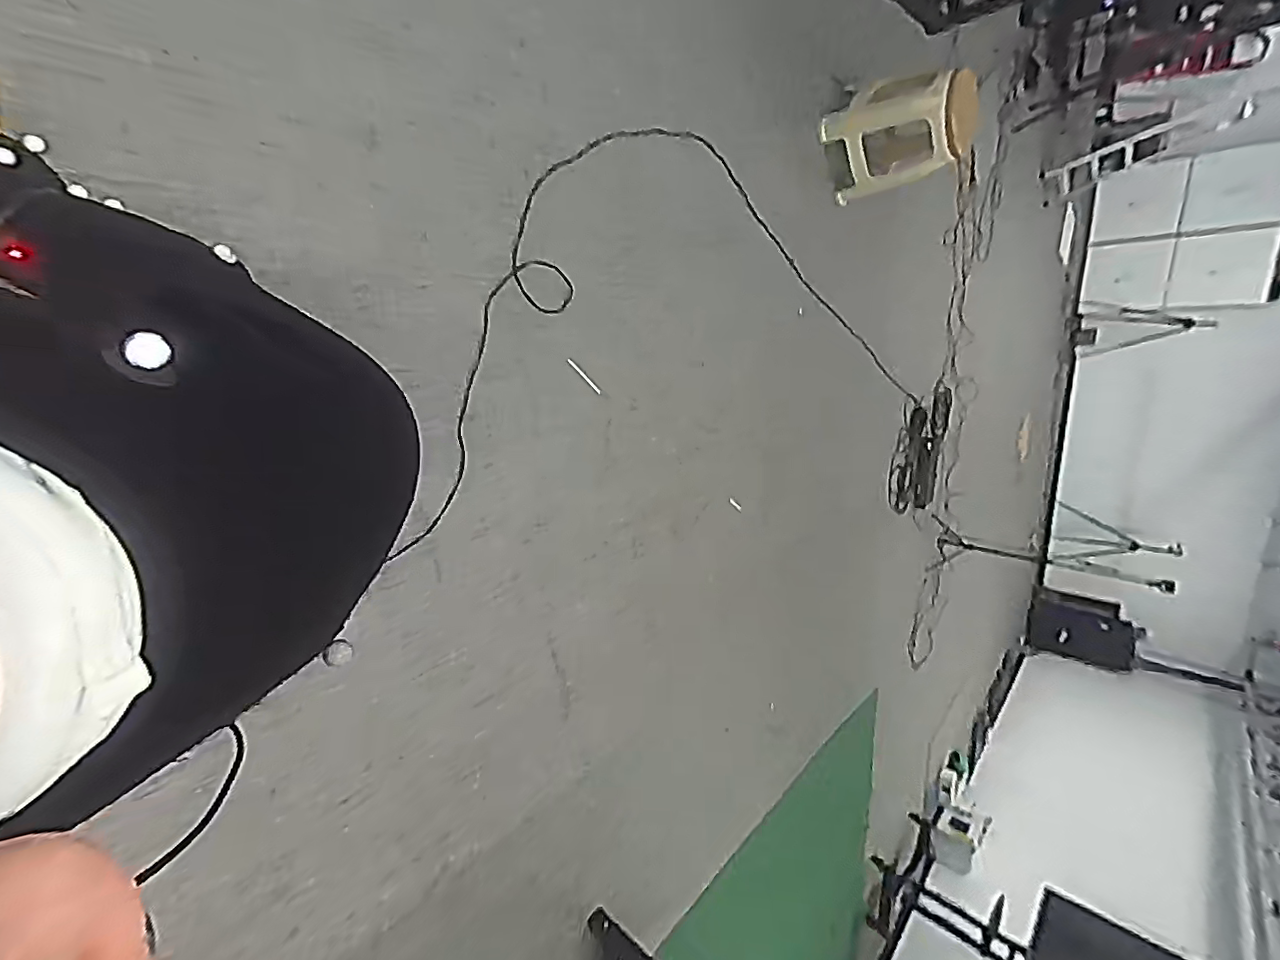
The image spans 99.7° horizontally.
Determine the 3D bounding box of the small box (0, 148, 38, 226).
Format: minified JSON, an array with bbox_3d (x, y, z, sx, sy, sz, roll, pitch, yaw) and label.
[{"bbox_3d":[-0.822,-0.361,0.581,0.179,0.176,0.168,-41,122,-31],"label":"small box"}]
